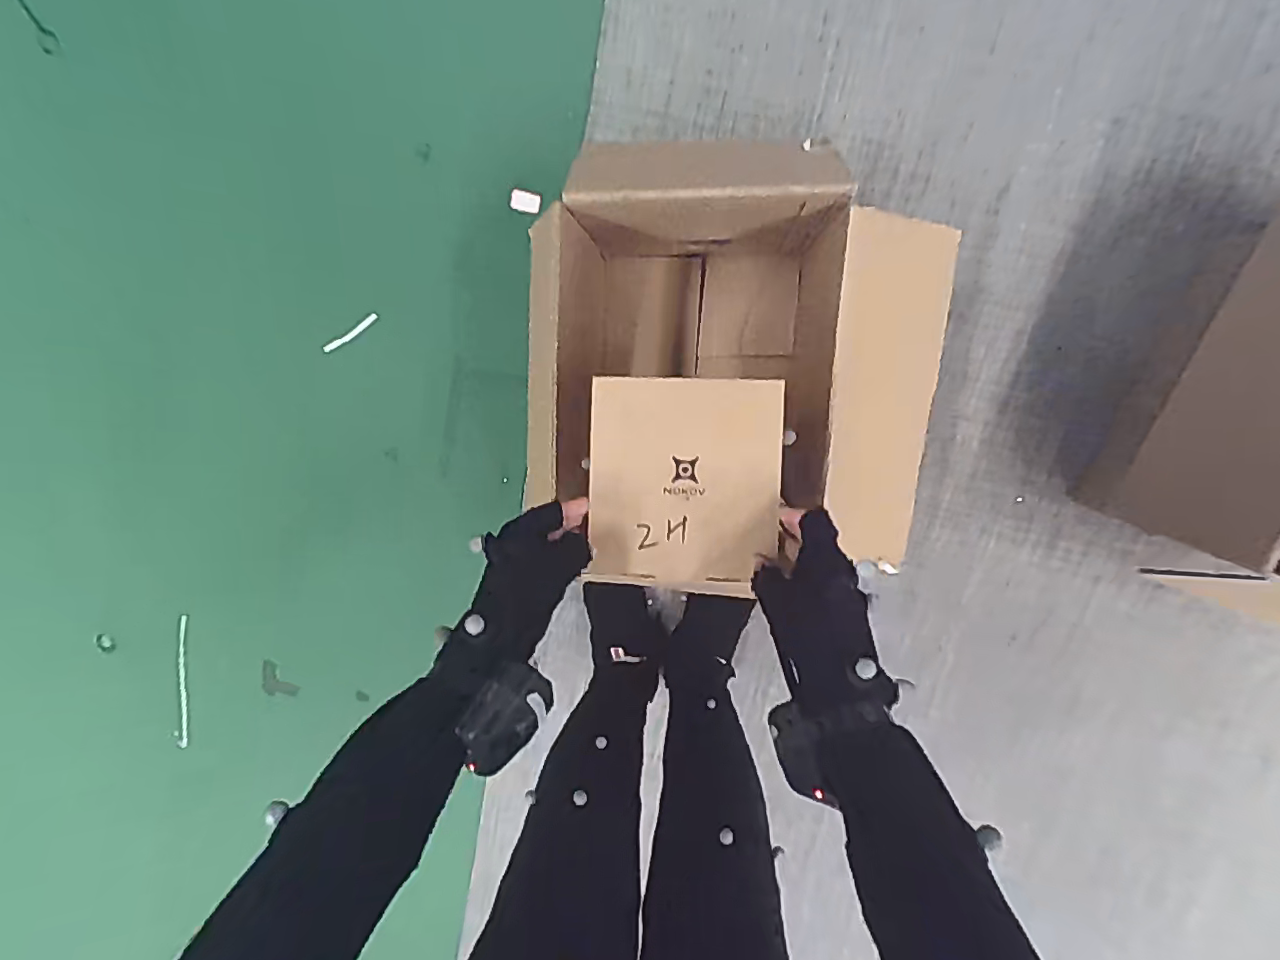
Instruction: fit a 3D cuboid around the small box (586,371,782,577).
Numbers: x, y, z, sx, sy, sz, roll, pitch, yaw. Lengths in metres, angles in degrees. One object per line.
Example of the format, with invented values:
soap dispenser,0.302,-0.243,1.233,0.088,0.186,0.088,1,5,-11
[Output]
small box,0.044,-0.009,0.552,0.168,0.176,0.179,3,93,6
